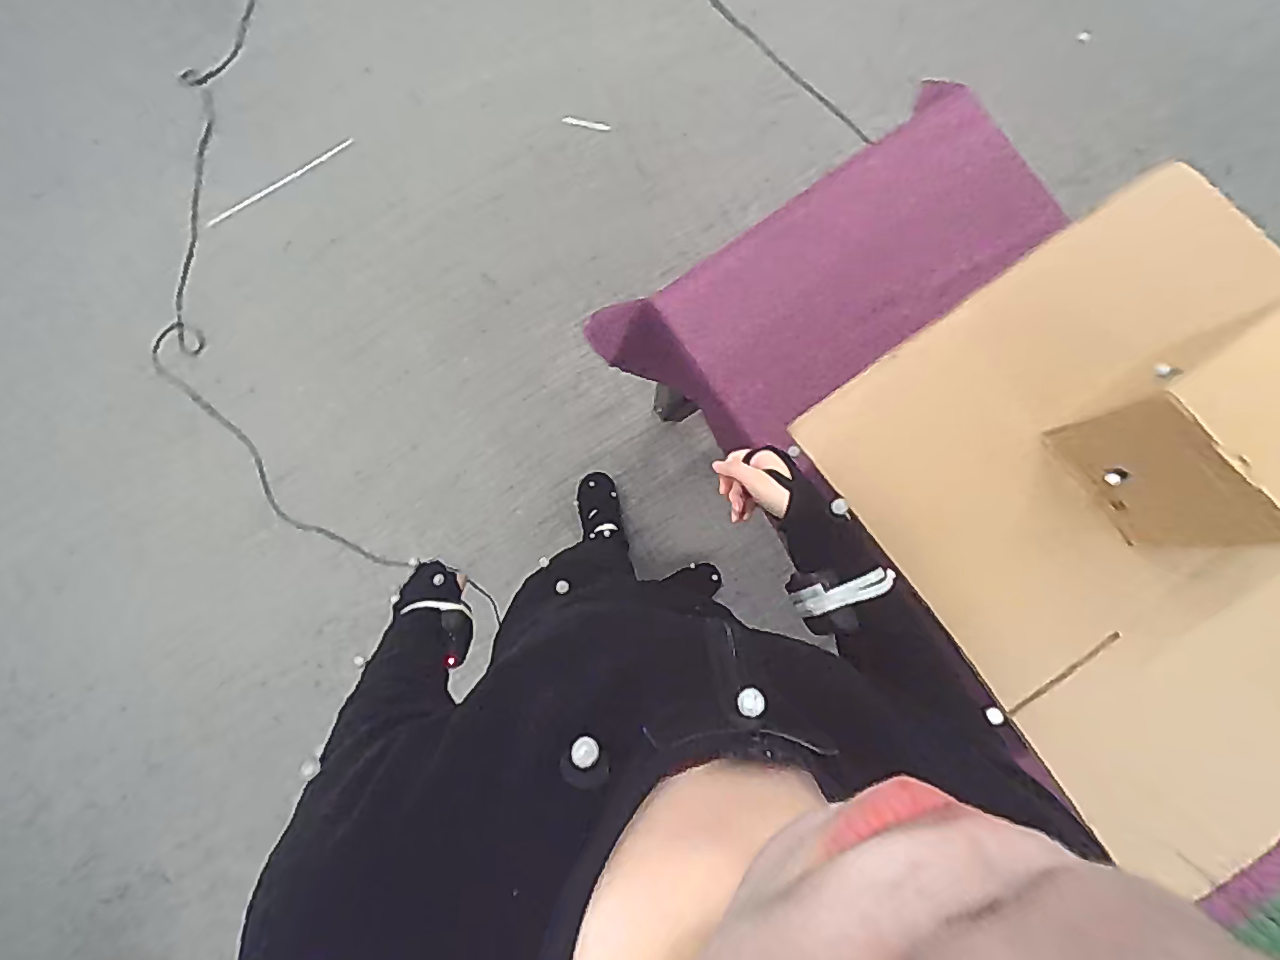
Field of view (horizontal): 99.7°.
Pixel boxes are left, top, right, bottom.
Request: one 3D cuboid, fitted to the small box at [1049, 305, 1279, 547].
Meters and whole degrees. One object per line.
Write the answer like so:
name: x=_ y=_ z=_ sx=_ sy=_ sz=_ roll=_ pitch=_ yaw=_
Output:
small box: x=0.579 y=-0.047 z=0.543 sx=0.179 sy=0.176 sz=0.168 roll=-35 pitch=80 yaw=-1
